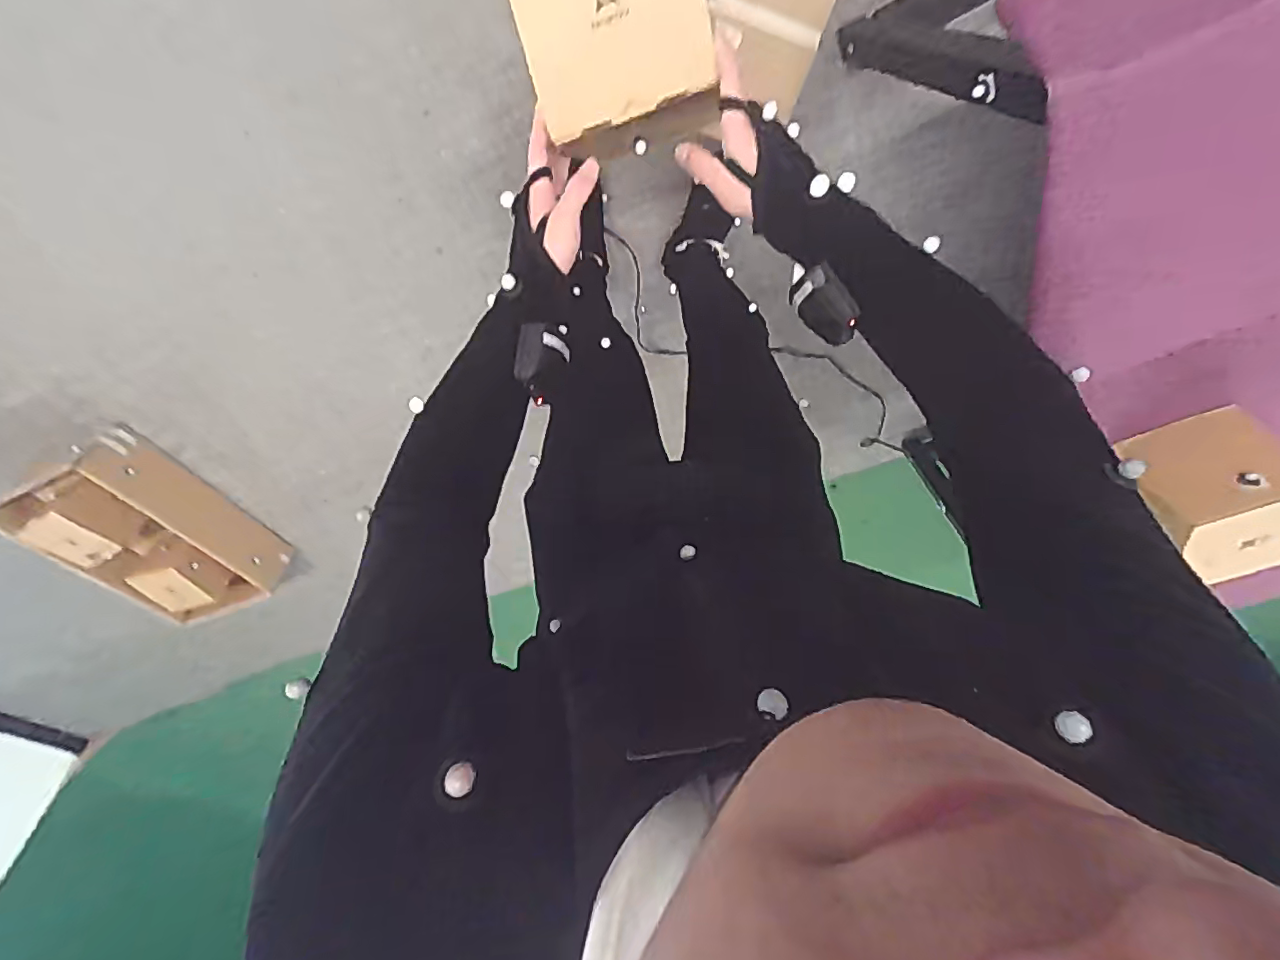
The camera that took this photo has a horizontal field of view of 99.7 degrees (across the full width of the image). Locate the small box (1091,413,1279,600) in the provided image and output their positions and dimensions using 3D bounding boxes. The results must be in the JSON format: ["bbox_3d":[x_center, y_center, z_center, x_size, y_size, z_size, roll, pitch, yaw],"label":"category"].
[{"bbox_3d":[0.790,0.034,0.752,0.179,0.176,0.168,-20,130,11],"label":"small box"}]

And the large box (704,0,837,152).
[{"bbox_3d":[0.059,-0.769,0.844,0.408,0.320,0.320,8,132,-15],"label":"large box"}]

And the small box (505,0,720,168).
[{"bbox_3d":[-0.020,-0.431,0.527,0.168,0.176,0.179,-11,112,14],"label":"small box"}]

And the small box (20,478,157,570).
[{"bbox_3d":[-1.536,0.115,1.518,0.168,0.176,0.179,-24,131,15],"label":"small box"}]
